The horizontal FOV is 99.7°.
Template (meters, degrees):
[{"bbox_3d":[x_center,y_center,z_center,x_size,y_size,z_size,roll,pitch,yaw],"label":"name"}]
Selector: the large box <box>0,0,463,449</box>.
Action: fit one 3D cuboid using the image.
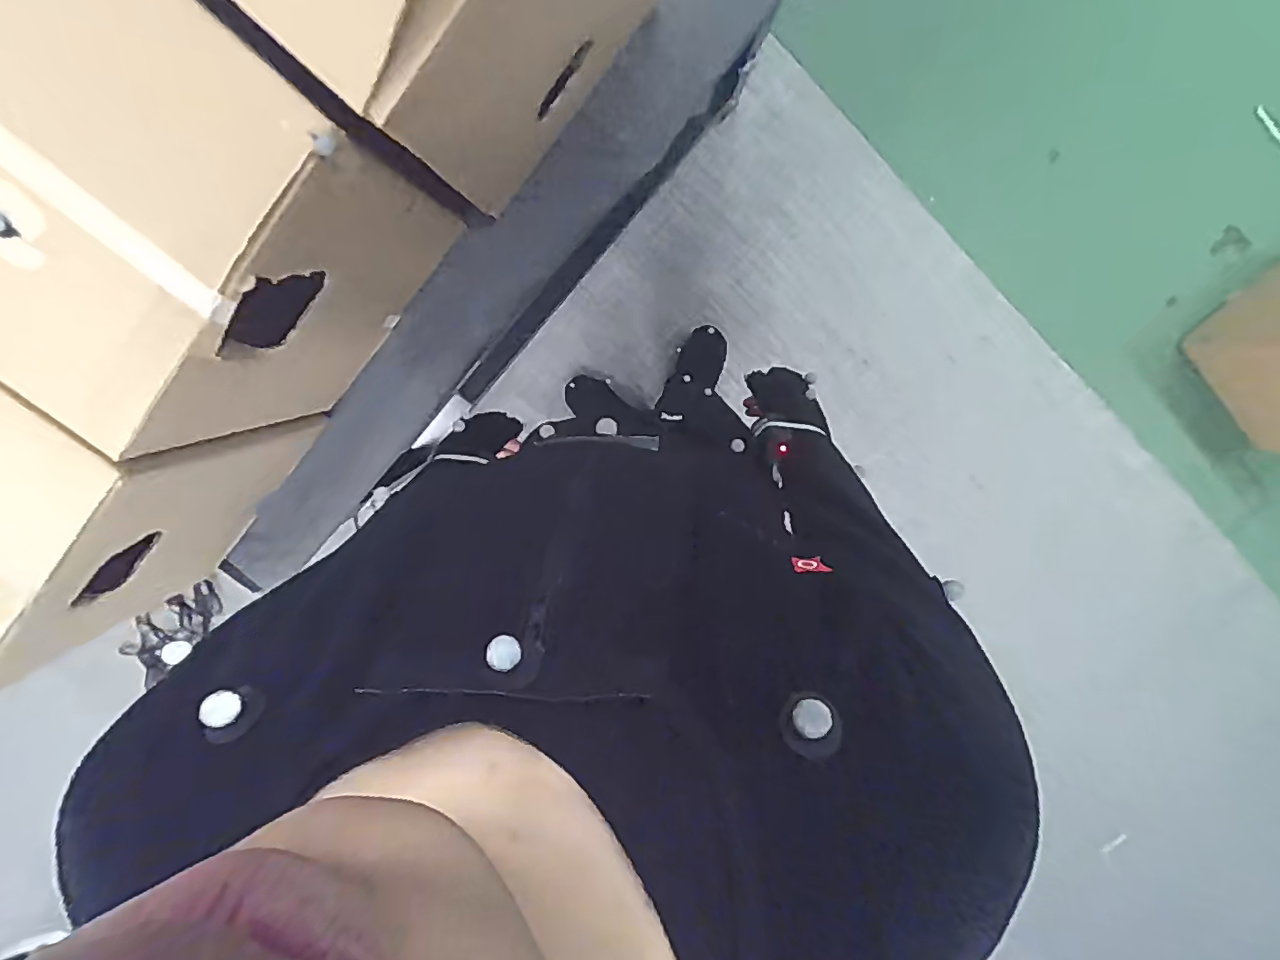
[{"bbox_3d":[-0.456,-0.293,0.510,0.408,0.320,0.320,40,102,-11],"label":"large box"}]
